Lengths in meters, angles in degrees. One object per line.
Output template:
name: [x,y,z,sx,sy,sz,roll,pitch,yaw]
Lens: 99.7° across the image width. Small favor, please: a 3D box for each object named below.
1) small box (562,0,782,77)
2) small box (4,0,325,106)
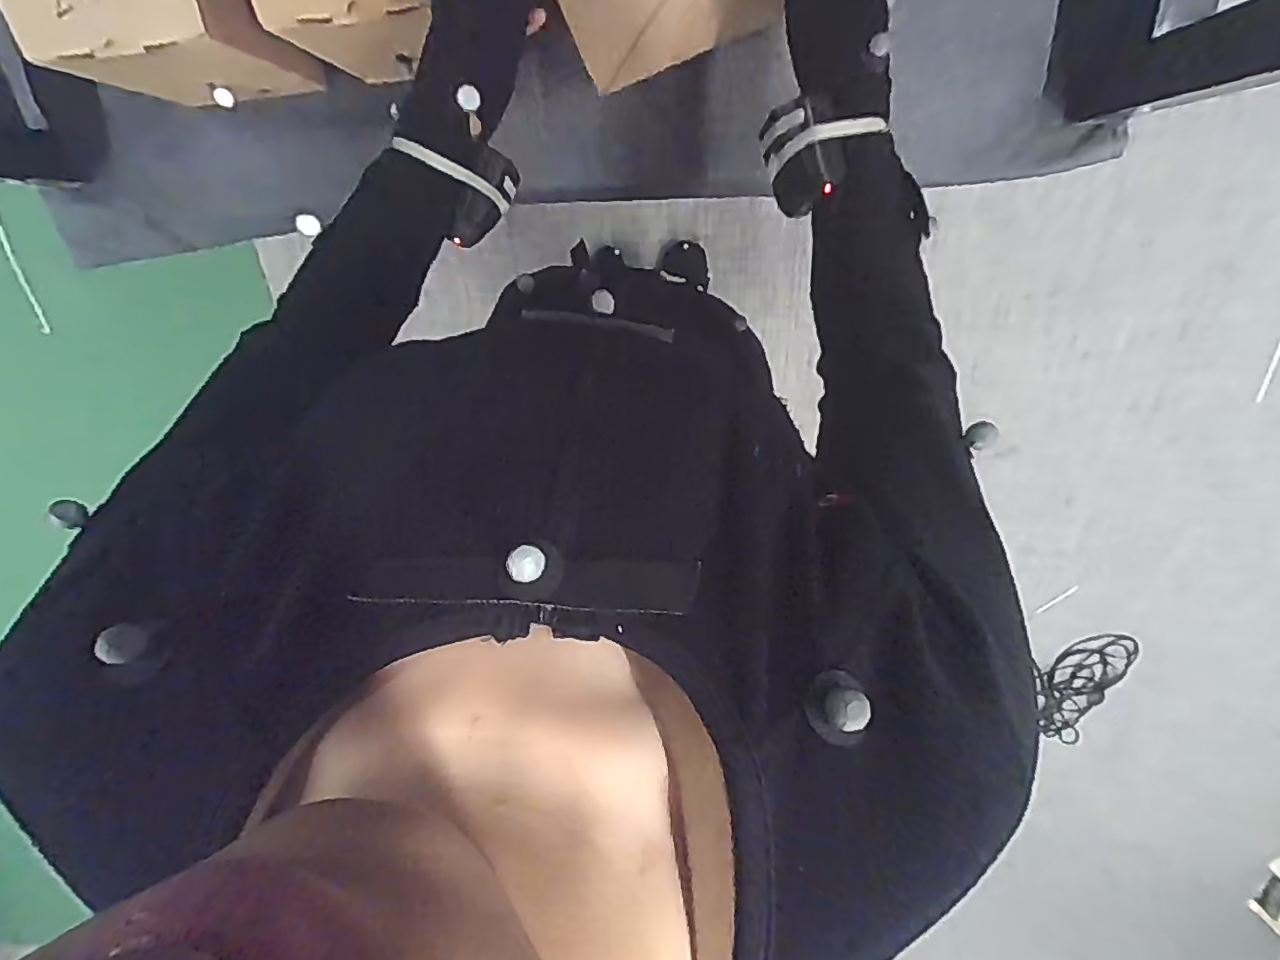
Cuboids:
small box: [0.015,-0.459,0.413,0.179,0.176,0.168,-12,150,18]
small box: [-0.424,-0.462,0.481,0.168,0.176,0.179,-3,114,4]
